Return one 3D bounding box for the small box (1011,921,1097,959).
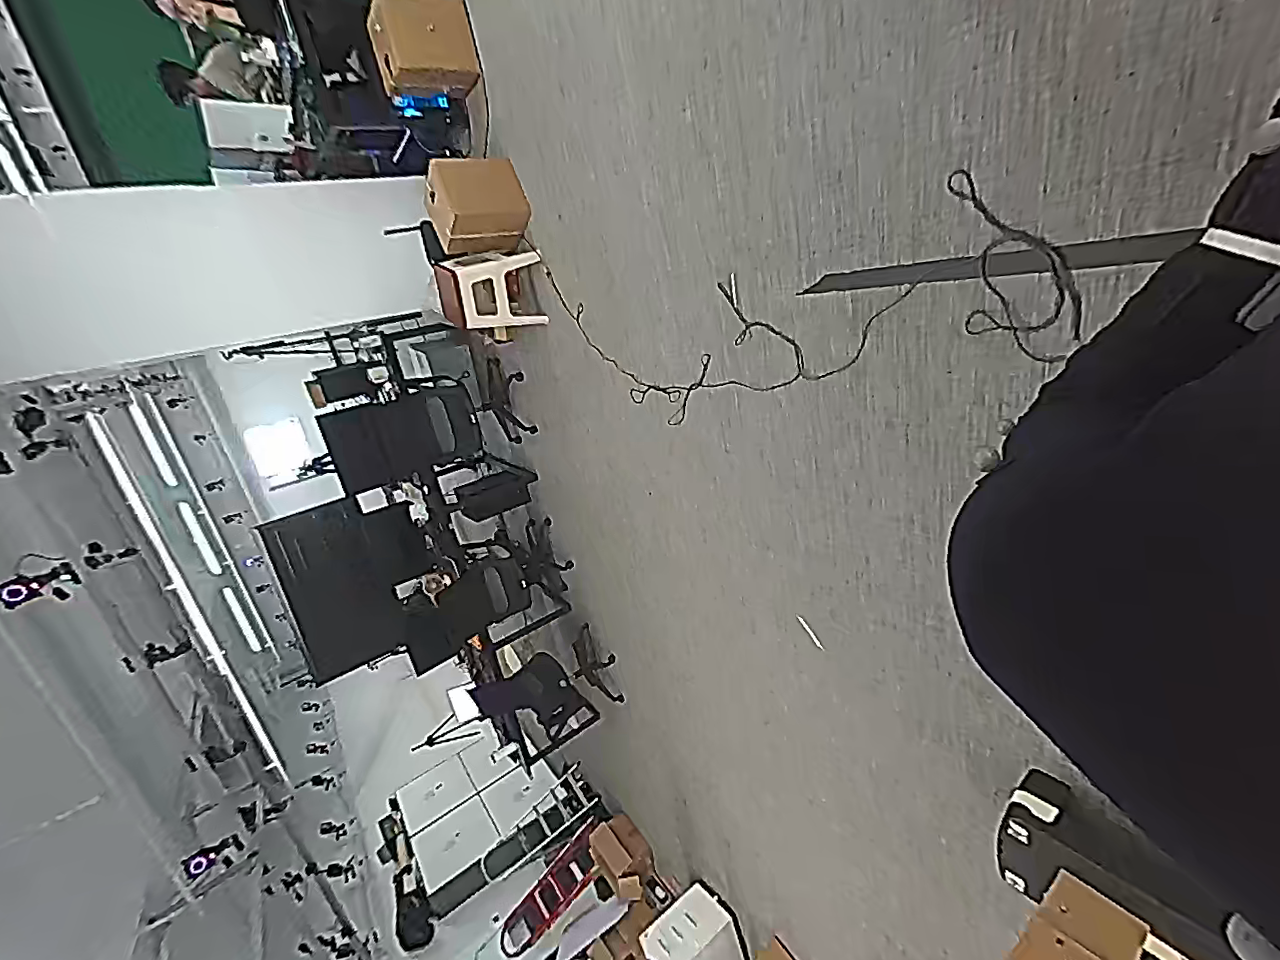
[{"bbox_3d":[0.944,1.160,1.207,0.168,0.176,0.179,15,121,55],"label":"small box"}]

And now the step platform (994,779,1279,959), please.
[{"bbox_3d":[1.263,1.074,1.312,0.684,0.204,0.286,16,124,53],"label":"step platform"}]
